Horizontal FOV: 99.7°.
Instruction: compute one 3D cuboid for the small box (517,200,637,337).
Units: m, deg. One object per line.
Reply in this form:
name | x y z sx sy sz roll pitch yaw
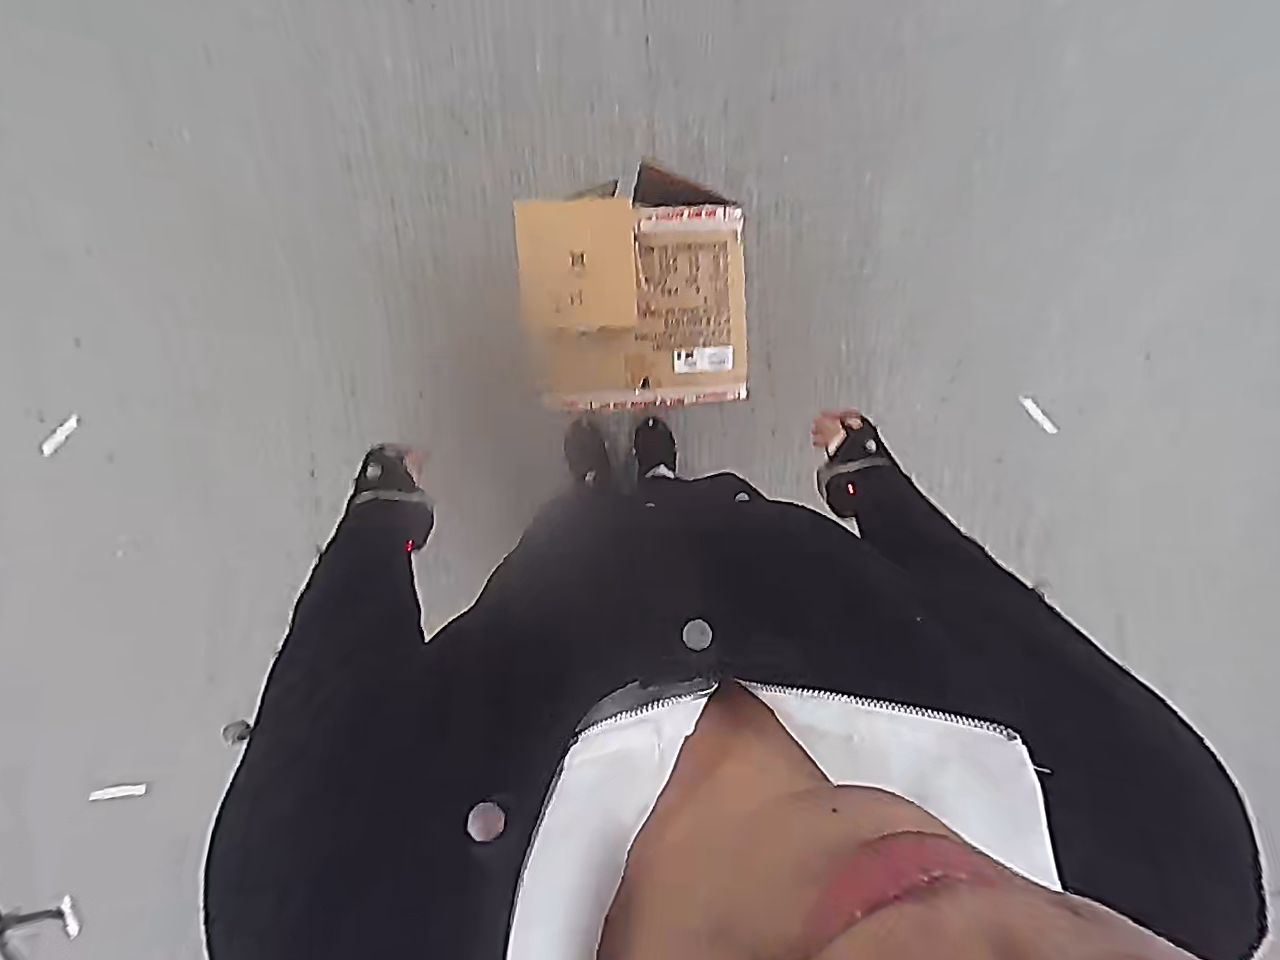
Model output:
small box | -0.094 -0.321 0.848 0.168 0.176 0.179 -3 103 -3
